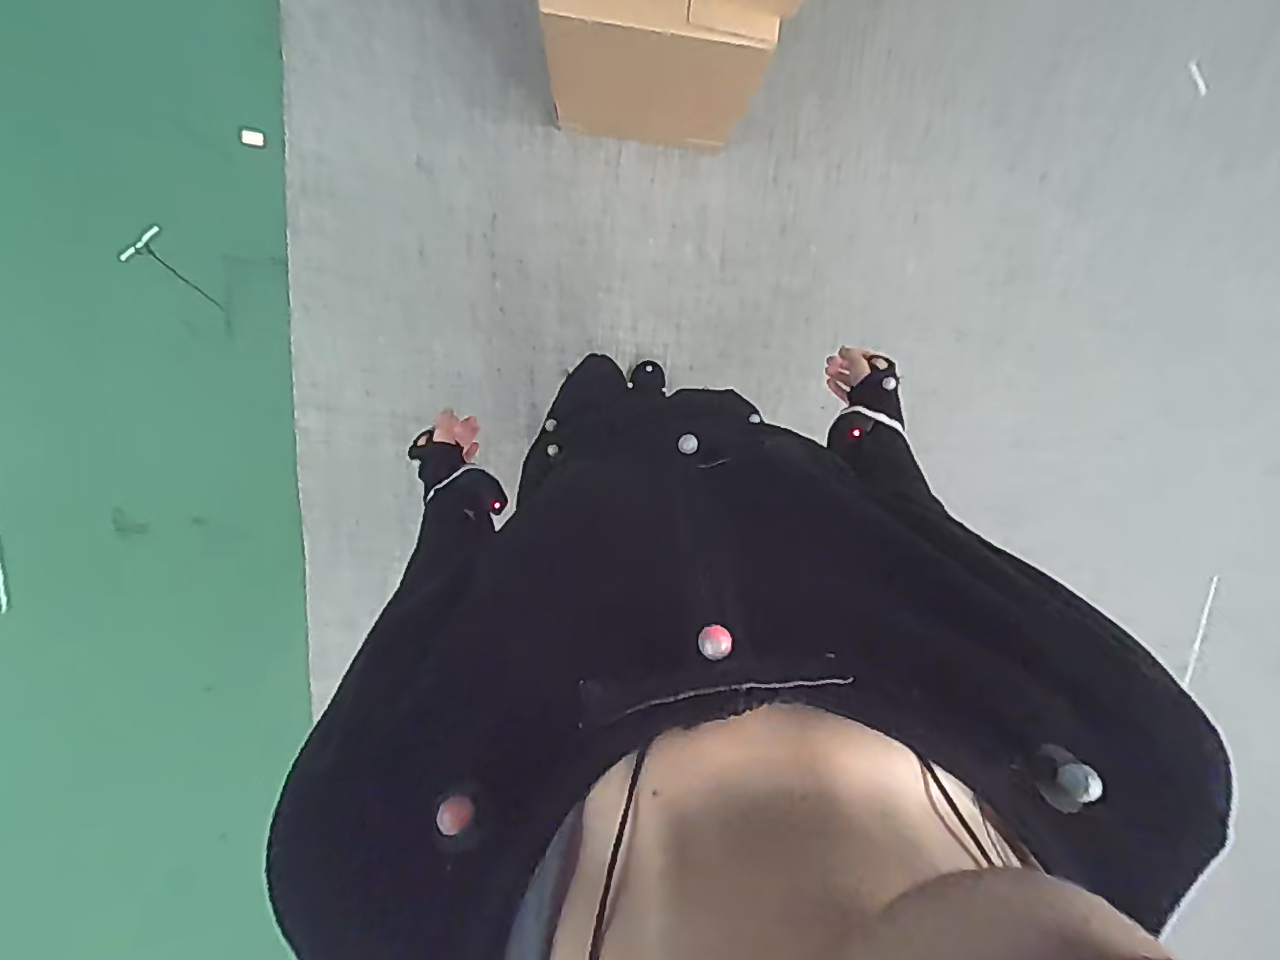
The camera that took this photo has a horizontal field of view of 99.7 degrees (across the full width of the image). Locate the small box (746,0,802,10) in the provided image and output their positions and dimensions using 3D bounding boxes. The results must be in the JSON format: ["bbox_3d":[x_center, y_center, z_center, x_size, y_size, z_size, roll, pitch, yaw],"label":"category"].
[{"bbox_3d":[0.194,-0.851,0.802,0.179,0.176,0.168,7,103,-4],"label":"small box"}]
